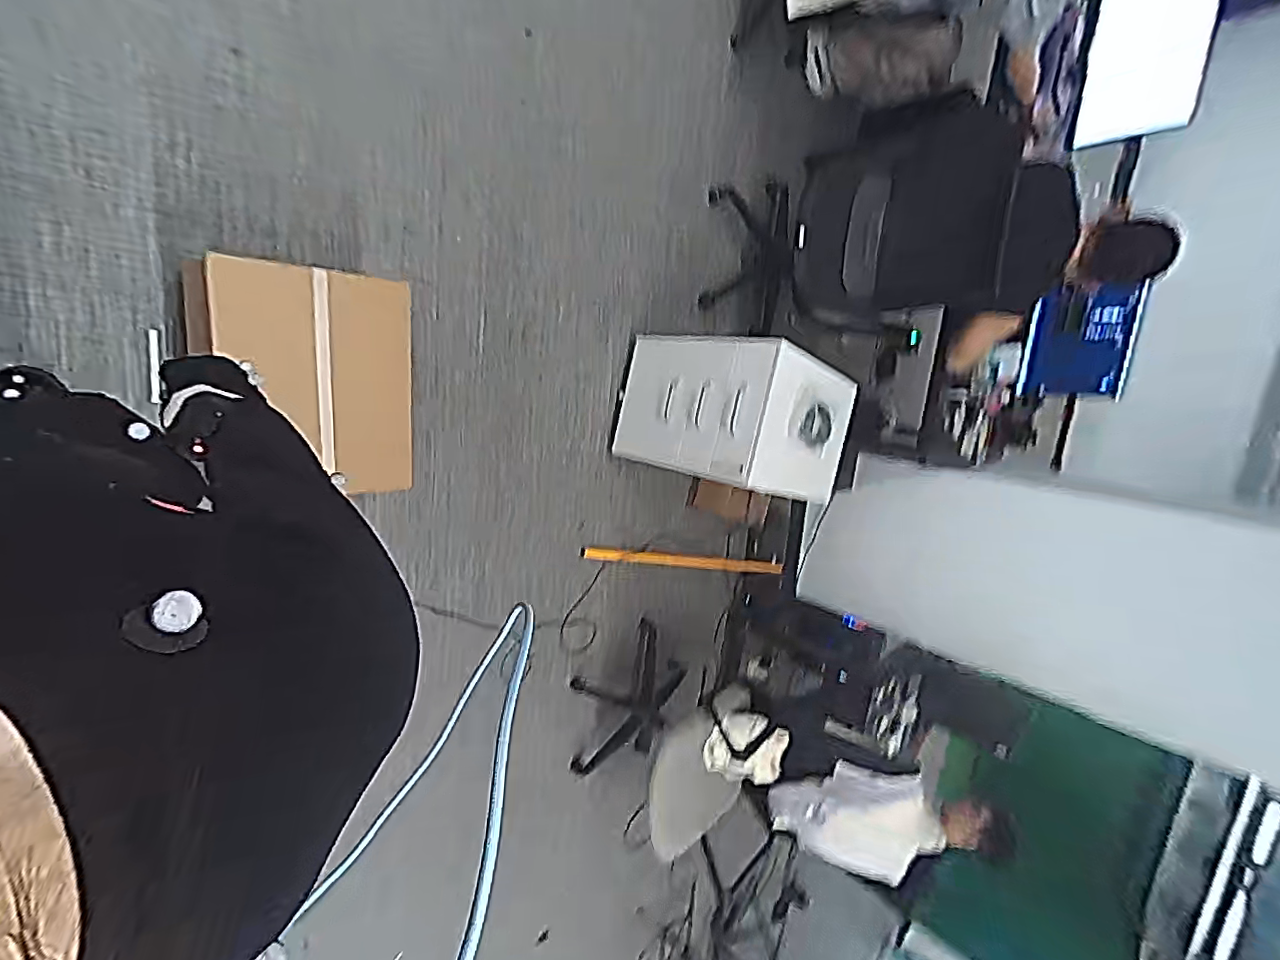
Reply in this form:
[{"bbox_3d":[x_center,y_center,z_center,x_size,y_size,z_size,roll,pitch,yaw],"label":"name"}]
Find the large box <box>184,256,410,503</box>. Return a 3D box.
[{"bbox_3d":[-0.679,-0.198,1.080,0.320,0.320,0.408,-8,108,-45],"label":"large box"}]
